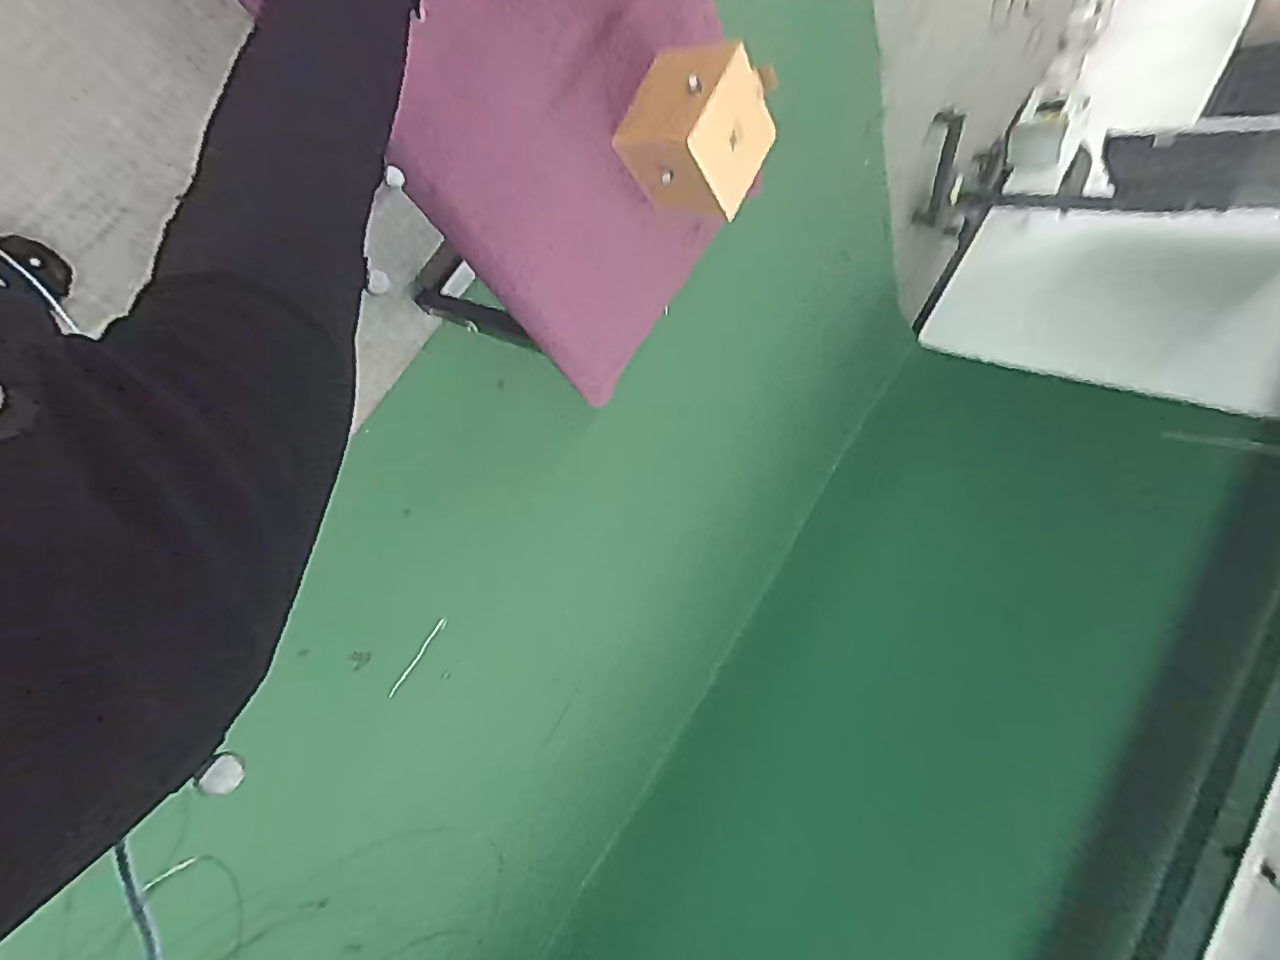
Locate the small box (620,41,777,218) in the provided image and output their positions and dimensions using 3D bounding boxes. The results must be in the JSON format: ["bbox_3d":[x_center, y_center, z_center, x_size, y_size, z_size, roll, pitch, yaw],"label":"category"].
[{"bbox_3d":[0.091,-0.567,0.893,0.168,0.176,0.179,31,87,-53],"label":"small box"}]
